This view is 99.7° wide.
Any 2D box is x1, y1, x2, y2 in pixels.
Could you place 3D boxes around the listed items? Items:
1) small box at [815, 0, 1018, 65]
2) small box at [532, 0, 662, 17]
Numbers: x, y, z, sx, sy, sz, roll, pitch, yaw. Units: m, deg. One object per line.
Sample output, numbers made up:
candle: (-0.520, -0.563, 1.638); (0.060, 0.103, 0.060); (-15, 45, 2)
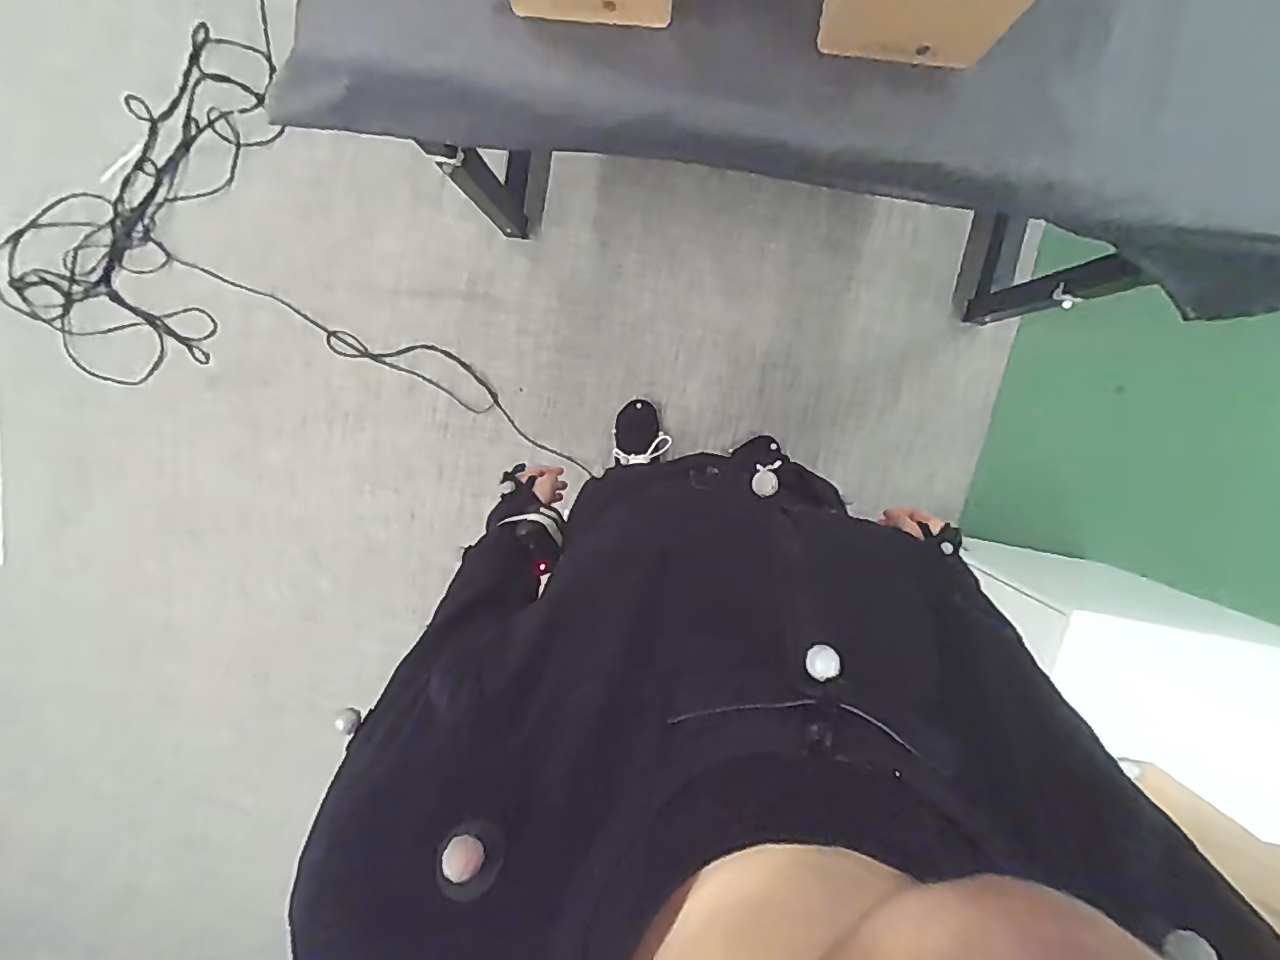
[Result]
small box: (0.269, -0.521, 0.477); (0.168, 0.176, 0.179); (7, 98, 0)
small box: (-0.052, -0.563, 0.478); (0.168, 0.176, 0.179); (5, 98, 0)
